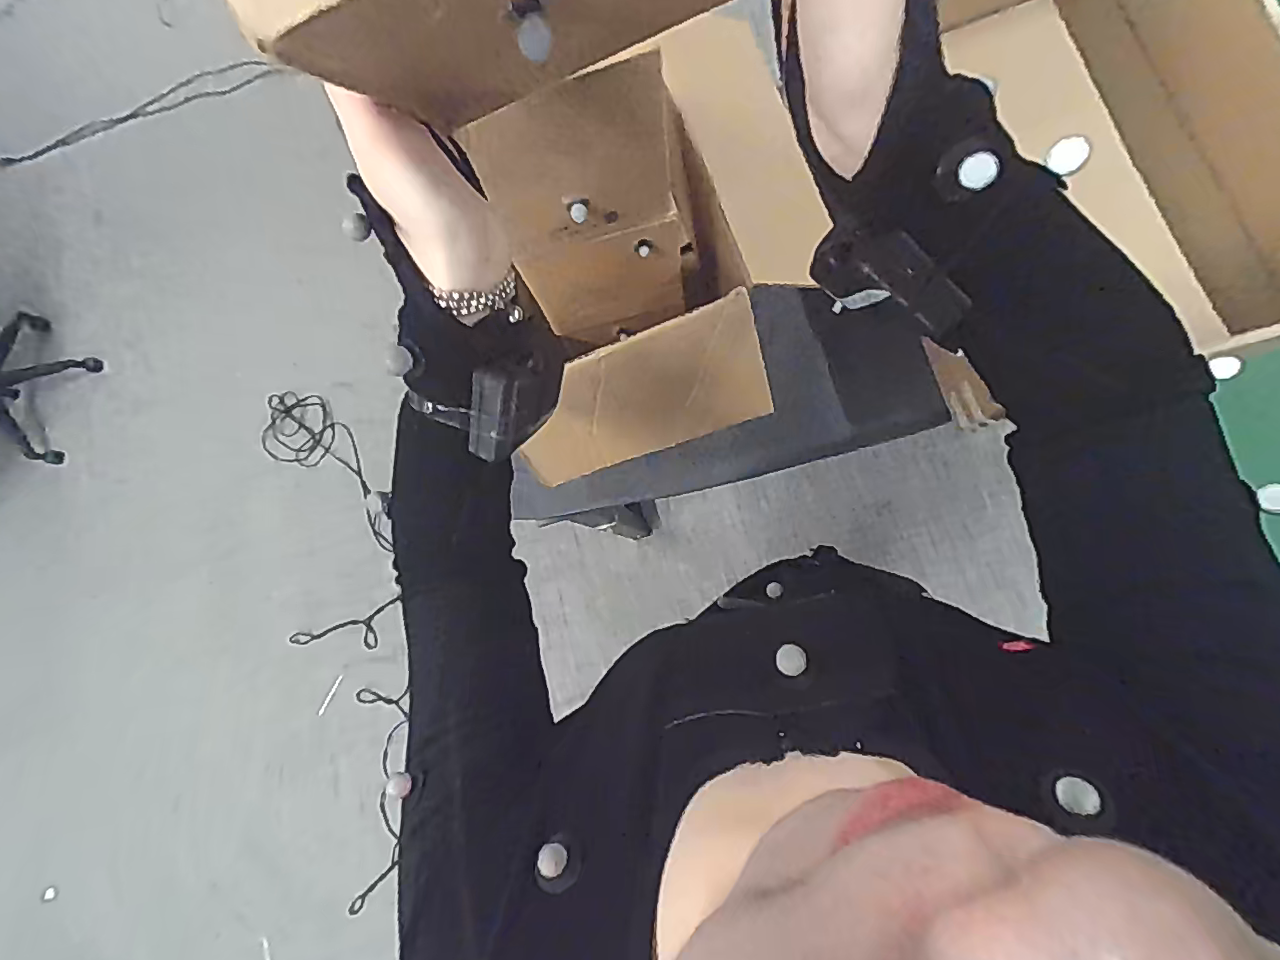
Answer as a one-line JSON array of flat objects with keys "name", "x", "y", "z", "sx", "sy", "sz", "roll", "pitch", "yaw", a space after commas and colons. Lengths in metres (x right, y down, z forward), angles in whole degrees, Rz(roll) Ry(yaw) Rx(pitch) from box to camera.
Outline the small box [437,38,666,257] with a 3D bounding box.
[{"name": "small box", "x": -0.080, "y": -0.337, "z": 0.477, "sx": 0.168, "sy": 0.176, "sz": 0.179, "roll": -17, "pitch": 77, "yaw": 2}]

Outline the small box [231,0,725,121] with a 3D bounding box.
[{"name": "small box", "x": -0.051, "y": -0.247, "z": 0.178, "sx": 0.179, "sy": 0.176, "sz": 0.168, "roll": -18, "pitch": 116, "yaw": 10}]
